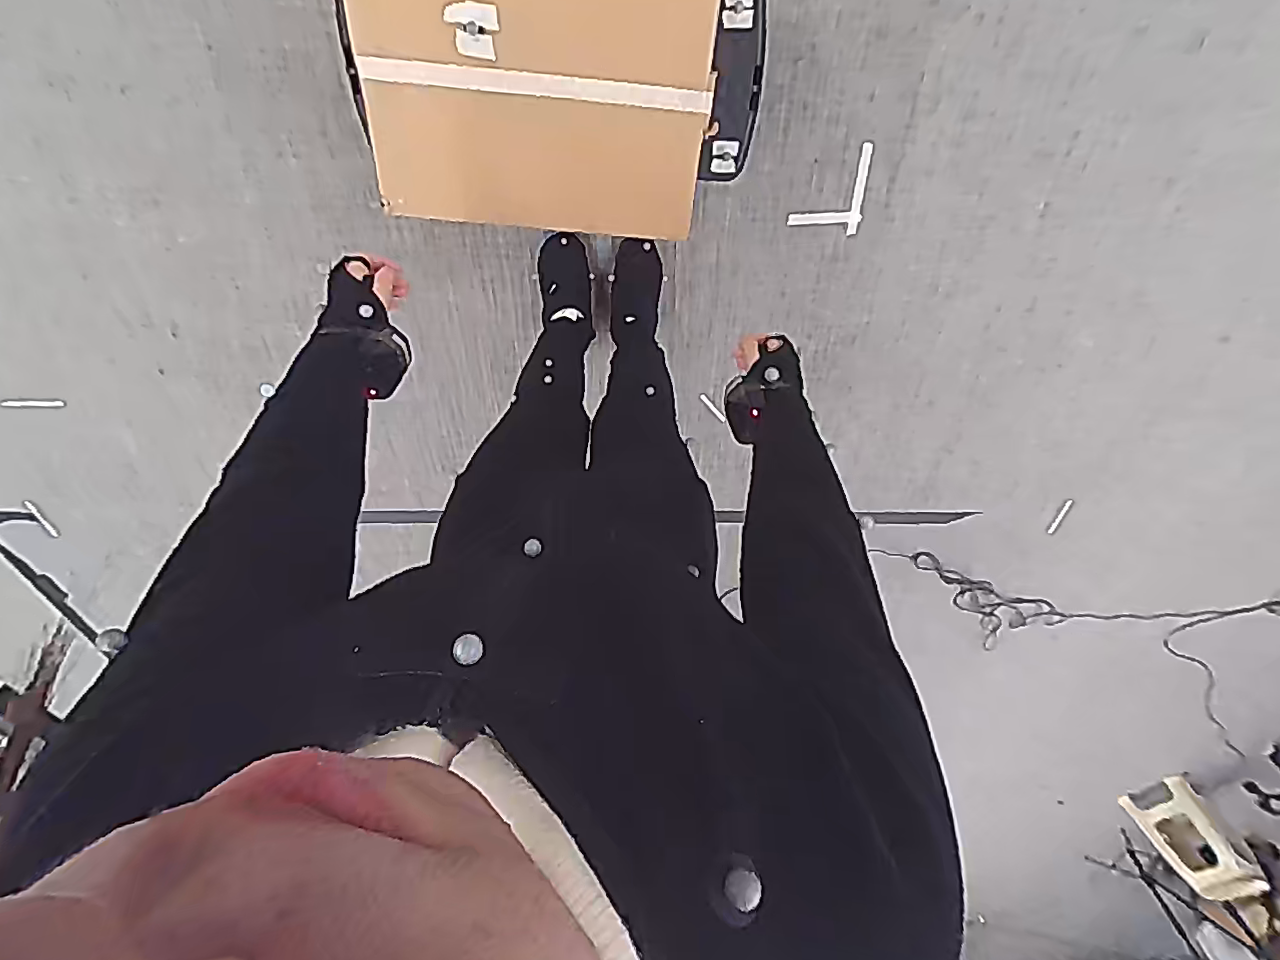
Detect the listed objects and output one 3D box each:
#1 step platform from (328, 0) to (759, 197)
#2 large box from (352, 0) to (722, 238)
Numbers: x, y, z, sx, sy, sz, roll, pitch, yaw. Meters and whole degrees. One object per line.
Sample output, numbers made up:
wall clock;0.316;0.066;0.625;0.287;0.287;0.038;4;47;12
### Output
step platform;-0.147;-0.688;0.930;0.684;0.204;0.286;5;127;-5
large box;-0.115;-0.546;0.739;0.408;0.320;0.320;4;126;-3
